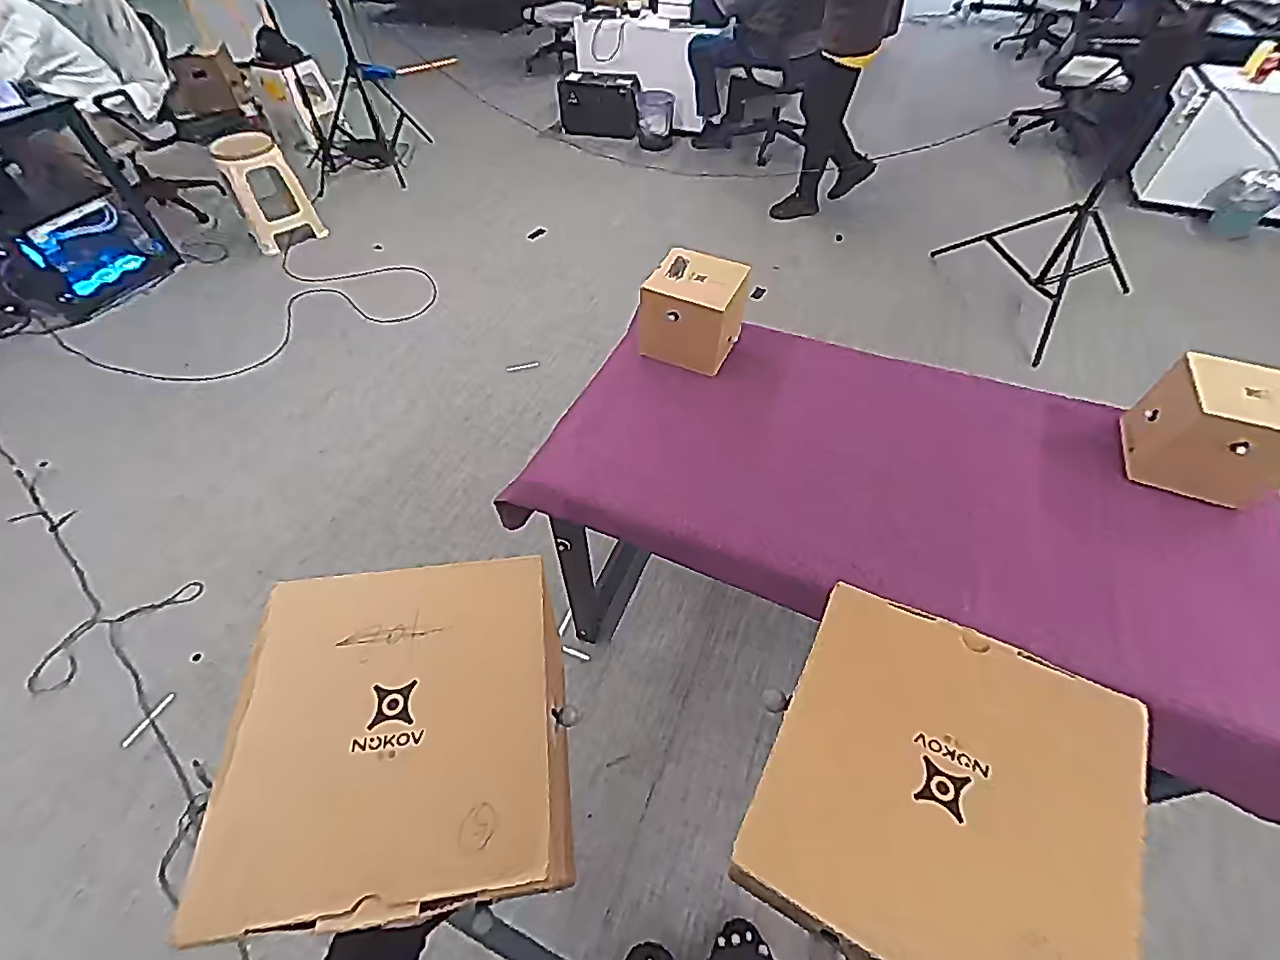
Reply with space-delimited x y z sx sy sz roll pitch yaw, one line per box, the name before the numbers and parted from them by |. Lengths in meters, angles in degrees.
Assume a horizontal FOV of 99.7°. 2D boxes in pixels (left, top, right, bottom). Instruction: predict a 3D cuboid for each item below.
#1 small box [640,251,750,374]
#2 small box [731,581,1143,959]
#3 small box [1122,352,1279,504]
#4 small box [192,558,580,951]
small box | 0.111 -0.349 1.138 0.179 0.176 0.168 21 56 15
small box | 0.169 0.203 0.342 0.168 0.176 0.179 20 56 23
small box | 0.968 -0.084 0.919 0.179 0.176 0.168 19 55 14
small box | -0.131 0.175 0.356 0.168 0.176 0.179 -6 53 -7
